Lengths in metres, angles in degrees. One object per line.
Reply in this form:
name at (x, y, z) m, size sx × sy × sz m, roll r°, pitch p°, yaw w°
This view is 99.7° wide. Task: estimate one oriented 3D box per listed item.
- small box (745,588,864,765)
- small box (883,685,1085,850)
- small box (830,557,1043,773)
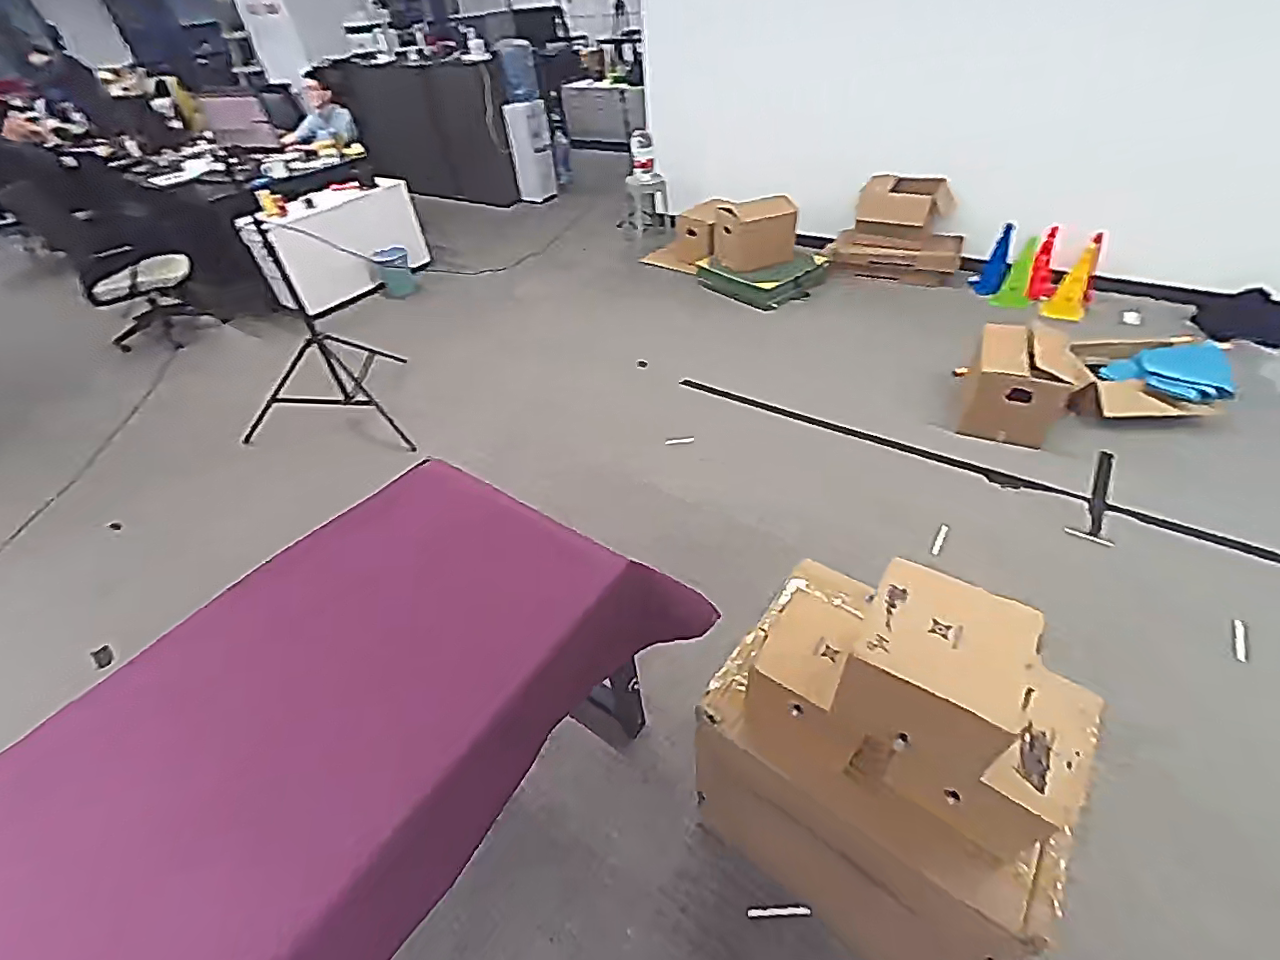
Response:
small box at (0.279, 0.310, 0.851) m, size 0.179 × 0.176 × 0.168 m, roll 24°, pitch 52°, yaw 27°
small box at (0.469, 0.376, 0.756) m, size 0.179 × 0.176 × 0.168 m, roll 25°, pitch 52°, yaw 32°
small box at (0.362, 0.236, 0.681) m, size 0.179 × 0.176 × 0.168 m, roll 22°, pitch 51°, yaw 28°
